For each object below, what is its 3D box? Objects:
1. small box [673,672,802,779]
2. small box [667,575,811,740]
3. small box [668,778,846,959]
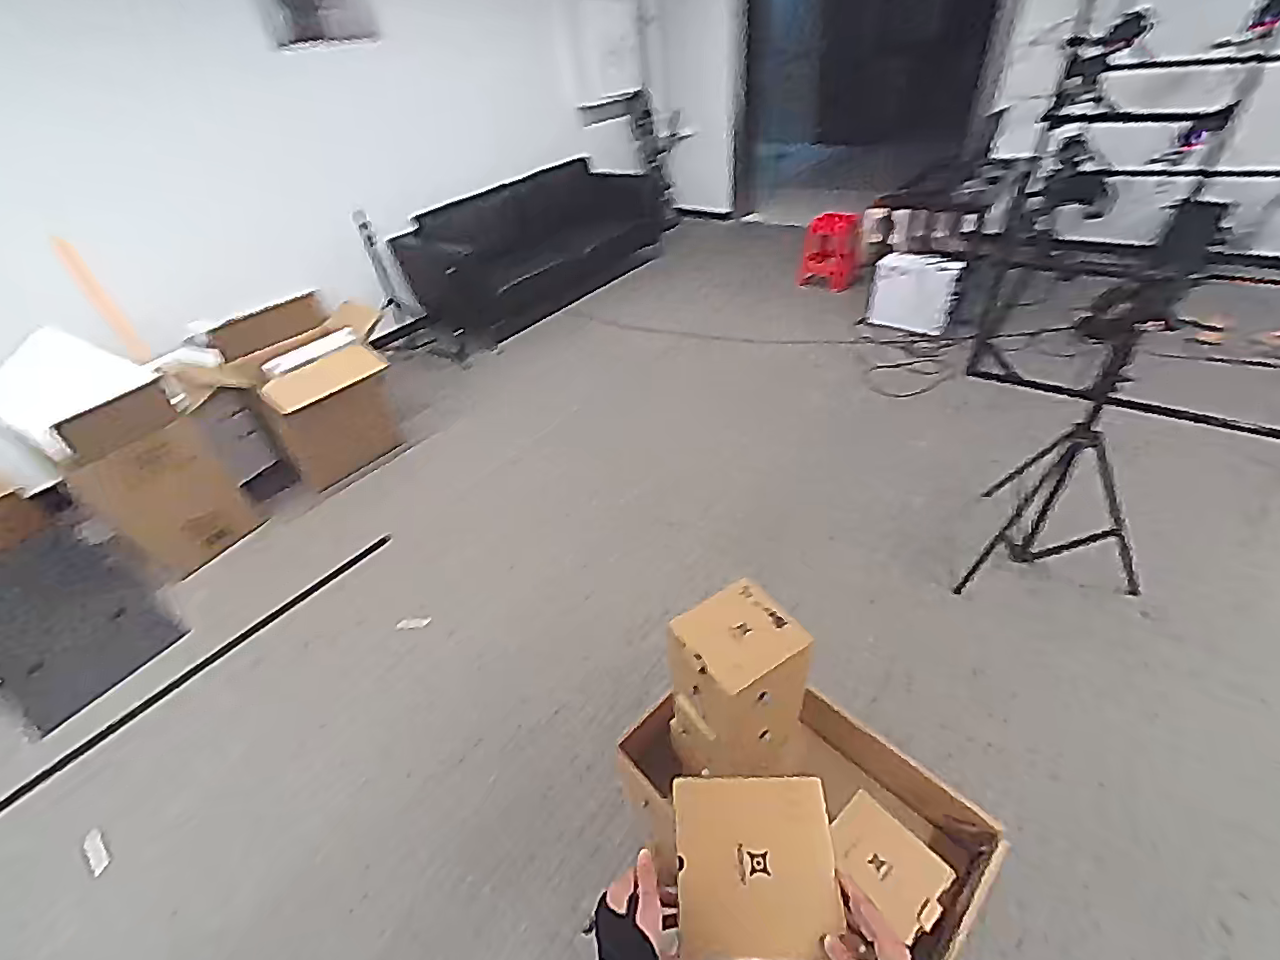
[{"bbox_3d":[0.184,0.428,1.032,0.179,0.176,0.168,-27,43,-24],"label":"small box"},{"bbox_3d":[0.166,0.304,0.925,0.179,0.176,0.168,-25,43,-21],"label":"small box"},{"bbox_3d":[0.130,0.466,0.654,0.179,0.176,0.168,-6,52,7],"label":"small box"}]
